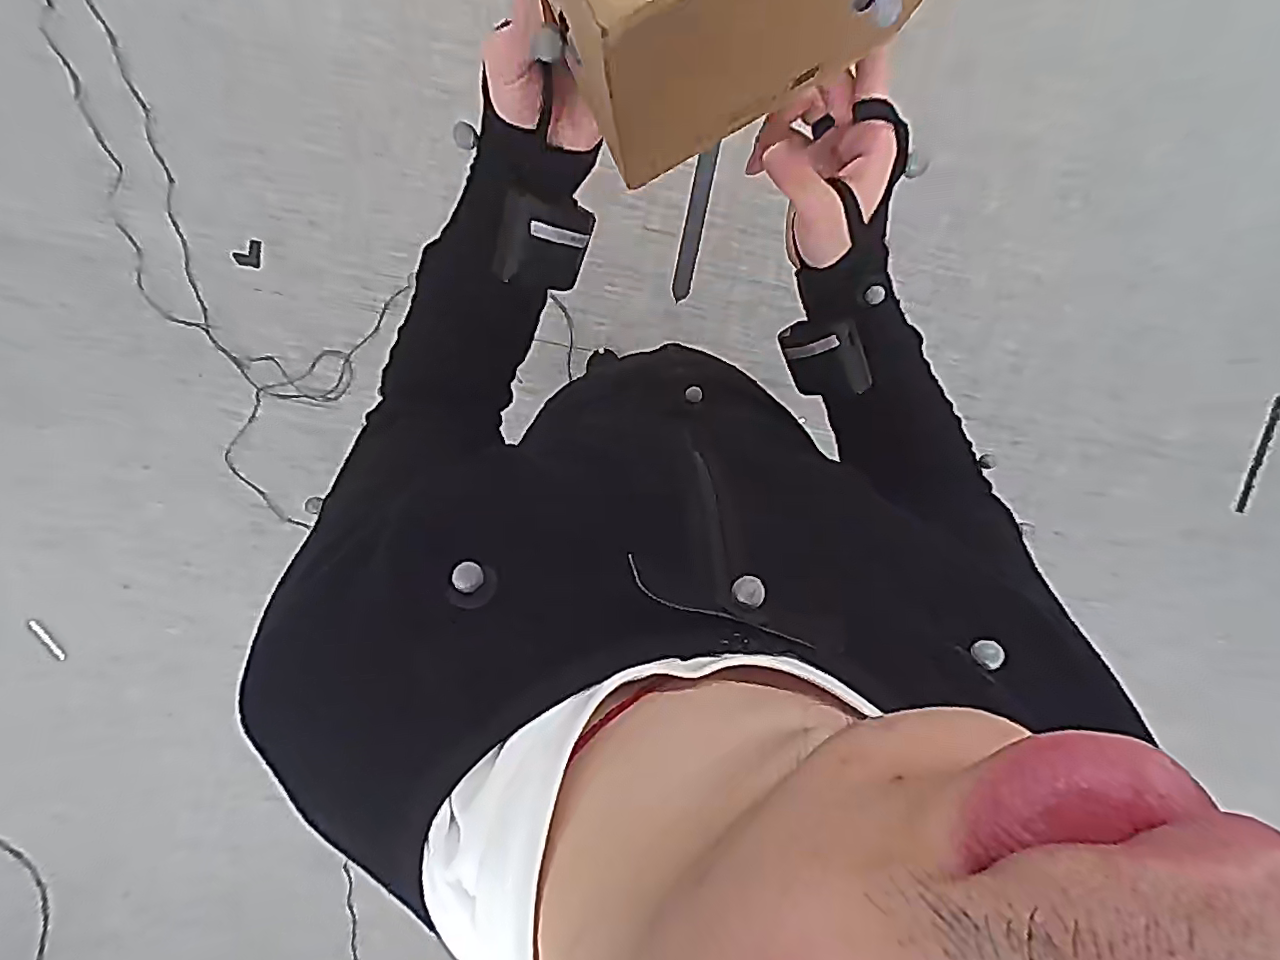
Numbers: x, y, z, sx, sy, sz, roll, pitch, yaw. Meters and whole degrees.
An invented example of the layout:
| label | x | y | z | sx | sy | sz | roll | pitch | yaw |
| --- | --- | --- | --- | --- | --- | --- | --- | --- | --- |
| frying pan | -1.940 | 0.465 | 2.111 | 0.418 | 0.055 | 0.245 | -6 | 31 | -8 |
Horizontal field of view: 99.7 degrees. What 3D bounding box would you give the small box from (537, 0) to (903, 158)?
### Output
| label | x | y | z | sx | sy | sz | roll | pitch | yaw |
| --- | --- | --- | --- | --- | --- | --- | --- | --- | --- |
| small box | 0.025 | -0.265 | 0.219 | 0.168 | 0.176 | 0.179 | -27 | 101 | 7 |
